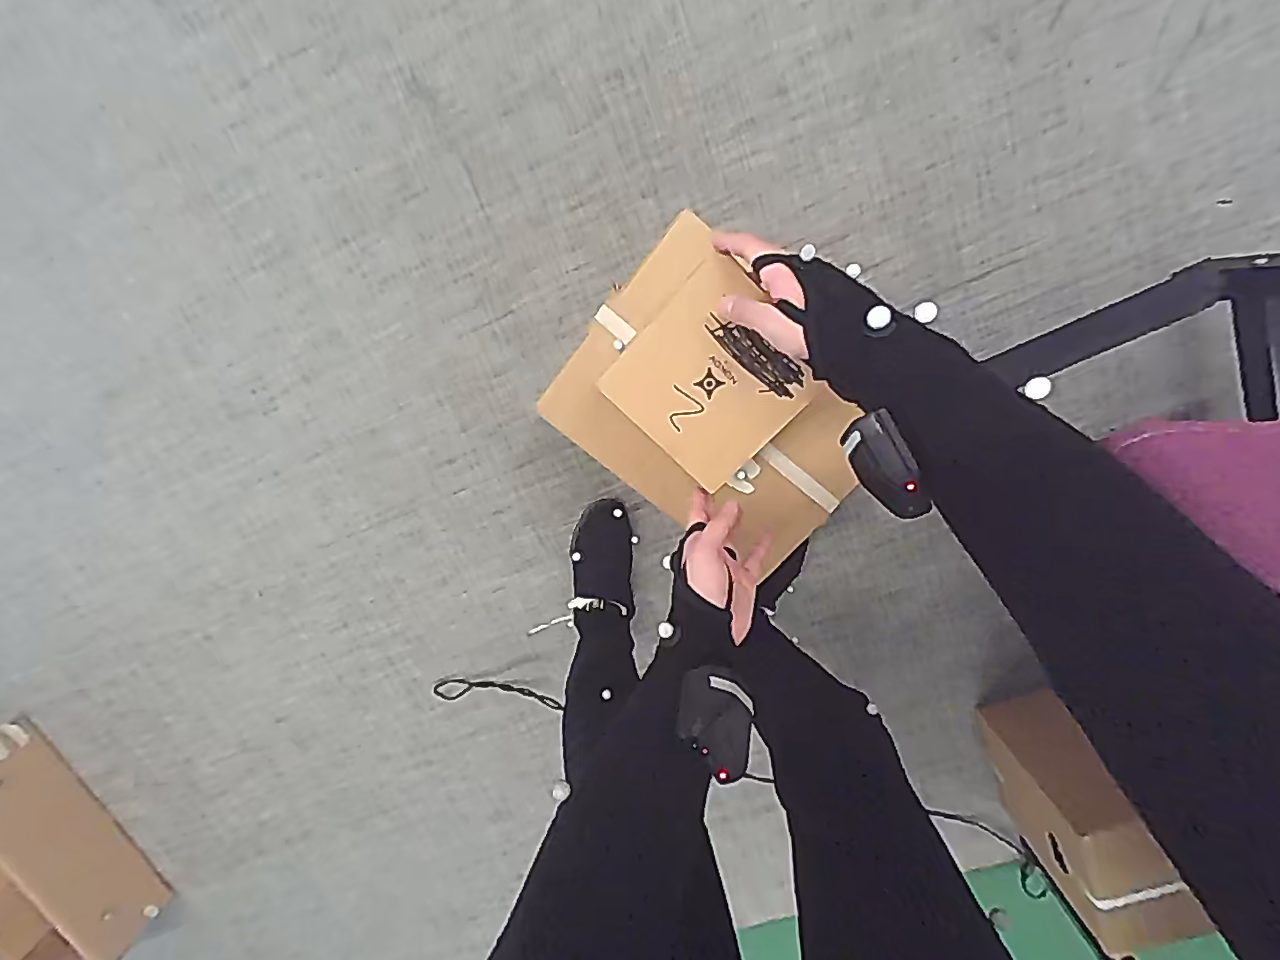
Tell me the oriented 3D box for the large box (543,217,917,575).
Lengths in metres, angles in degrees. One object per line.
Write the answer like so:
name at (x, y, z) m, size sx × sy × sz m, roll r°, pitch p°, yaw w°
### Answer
large box at (0.117, -0.133, 0.852) m, size 0.408 × 0.320 × 0.320 m, roll 37°, pitch 105°, yaw -10°
